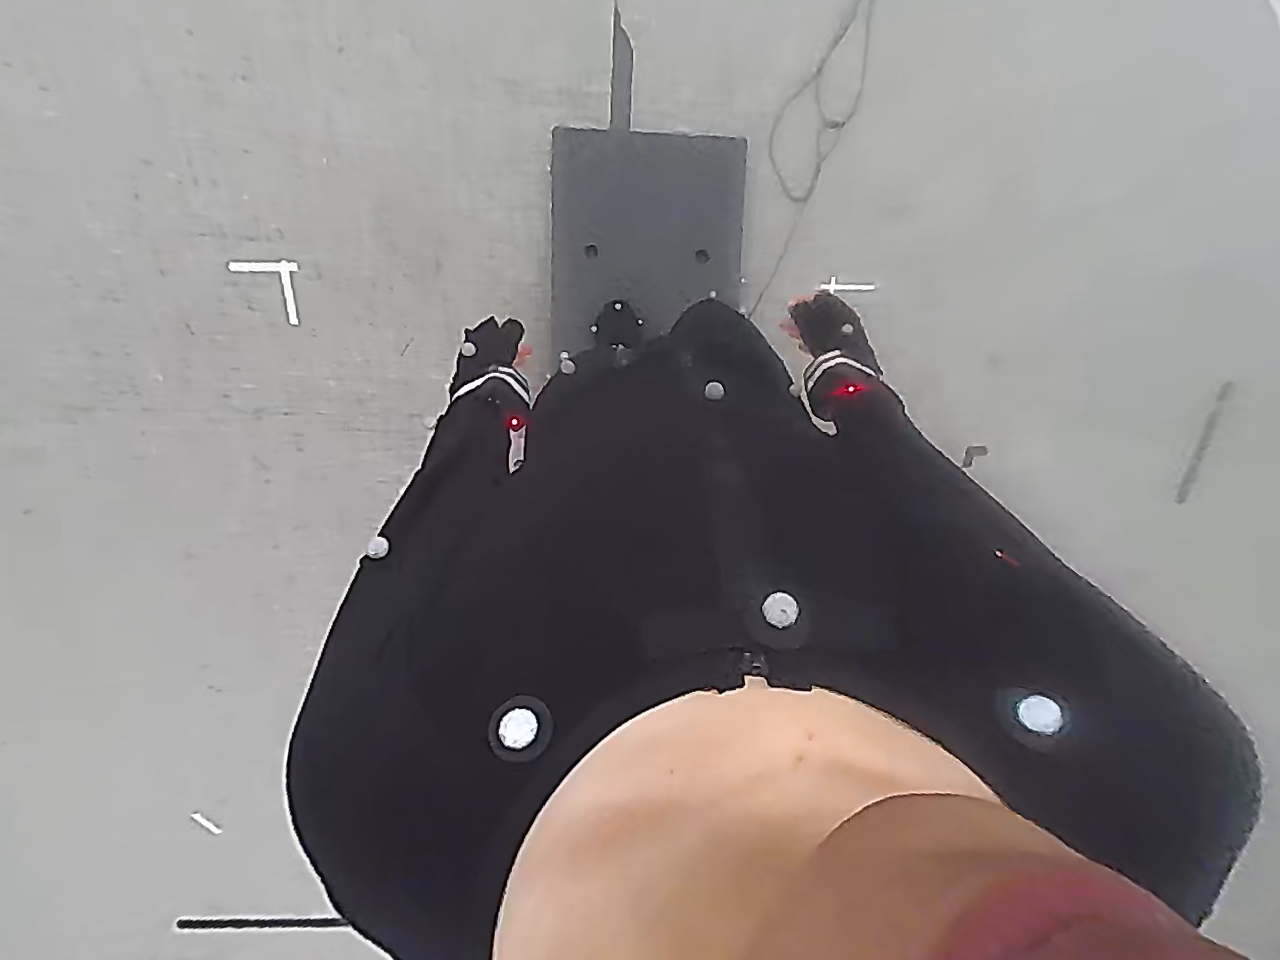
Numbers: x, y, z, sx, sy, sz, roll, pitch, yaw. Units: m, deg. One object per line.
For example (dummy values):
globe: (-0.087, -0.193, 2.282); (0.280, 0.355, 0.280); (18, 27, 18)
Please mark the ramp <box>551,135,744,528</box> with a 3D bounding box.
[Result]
ramp: (0.010, -0.365, 1.425); (0.509, 0.206, 0.991); (0, 108, -1)
